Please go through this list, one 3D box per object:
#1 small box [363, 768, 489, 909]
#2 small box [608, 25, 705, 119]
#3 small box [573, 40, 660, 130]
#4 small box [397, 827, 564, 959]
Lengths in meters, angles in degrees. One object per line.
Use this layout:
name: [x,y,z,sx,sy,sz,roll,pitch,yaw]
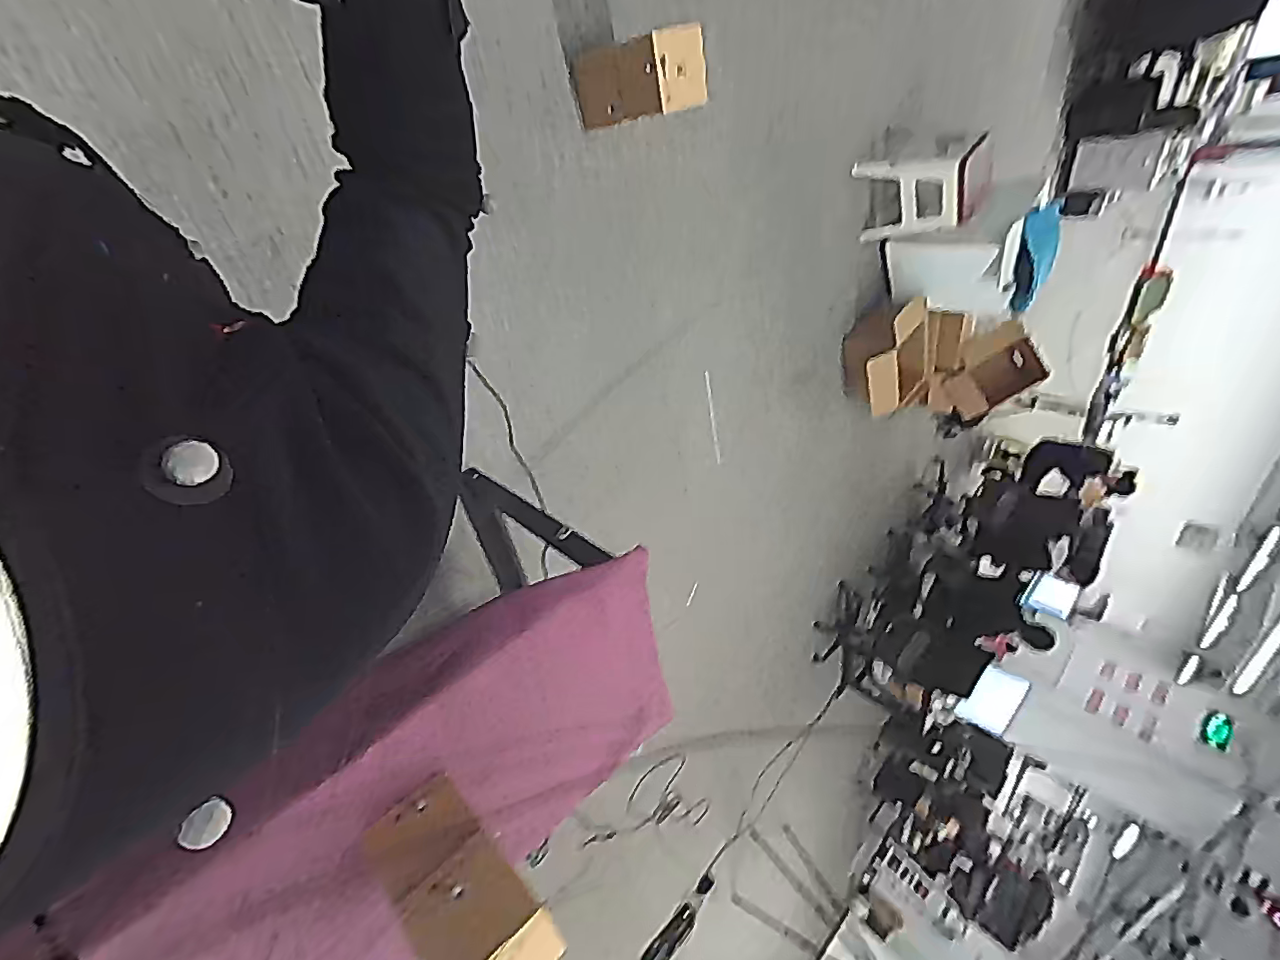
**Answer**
small box: [-0.361,0.663,0.965,0.168,0.176,0.179,-31,127,-33]
small box: [0.044,-1.057,1.407,0.179,0.176,0.168,-36,130,-30]
small box: [-0.065,-1.109,1.518,0.168,0.176,0.179,-35,130,-29]
small box: [-0.248,0.699,0.850,0.168,0.176,0.179,-33,129,-32]
